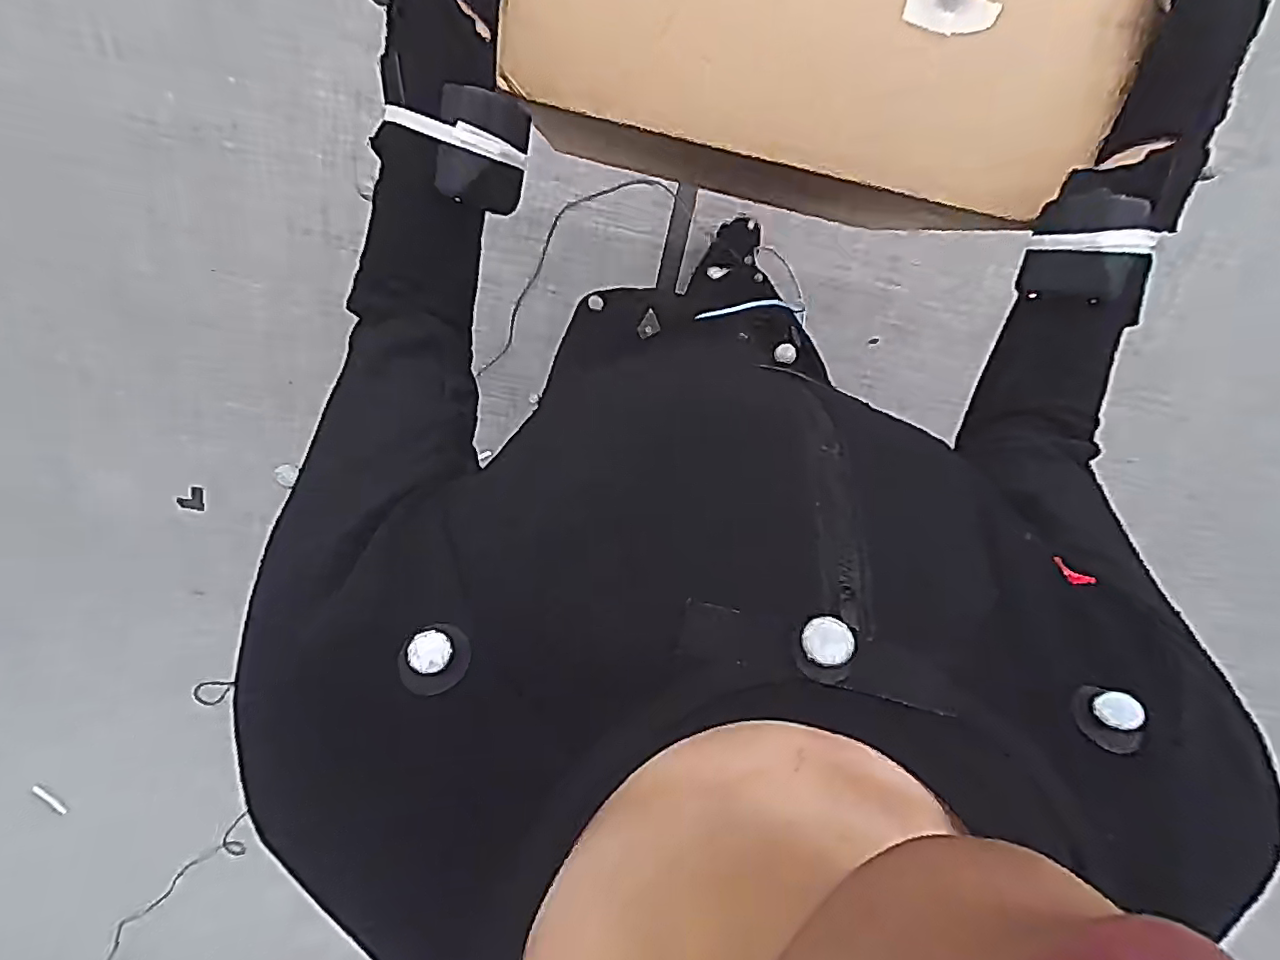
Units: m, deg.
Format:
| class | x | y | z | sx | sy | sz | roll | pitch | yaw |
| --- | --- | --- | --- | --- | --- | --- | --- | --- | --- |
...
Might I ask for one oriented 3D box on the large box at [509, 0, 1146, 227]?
| class | x | y | z | sx | sy | sz | roll | pitch | yaw |
| --- | --- | --- | --- | --- | --- | --- | --- | --- | --- |
| large box | 0.127 | -0.419 | 0.453 | 0.408 | 0.320 | 0.320 | 10 | 115 | -7 |
